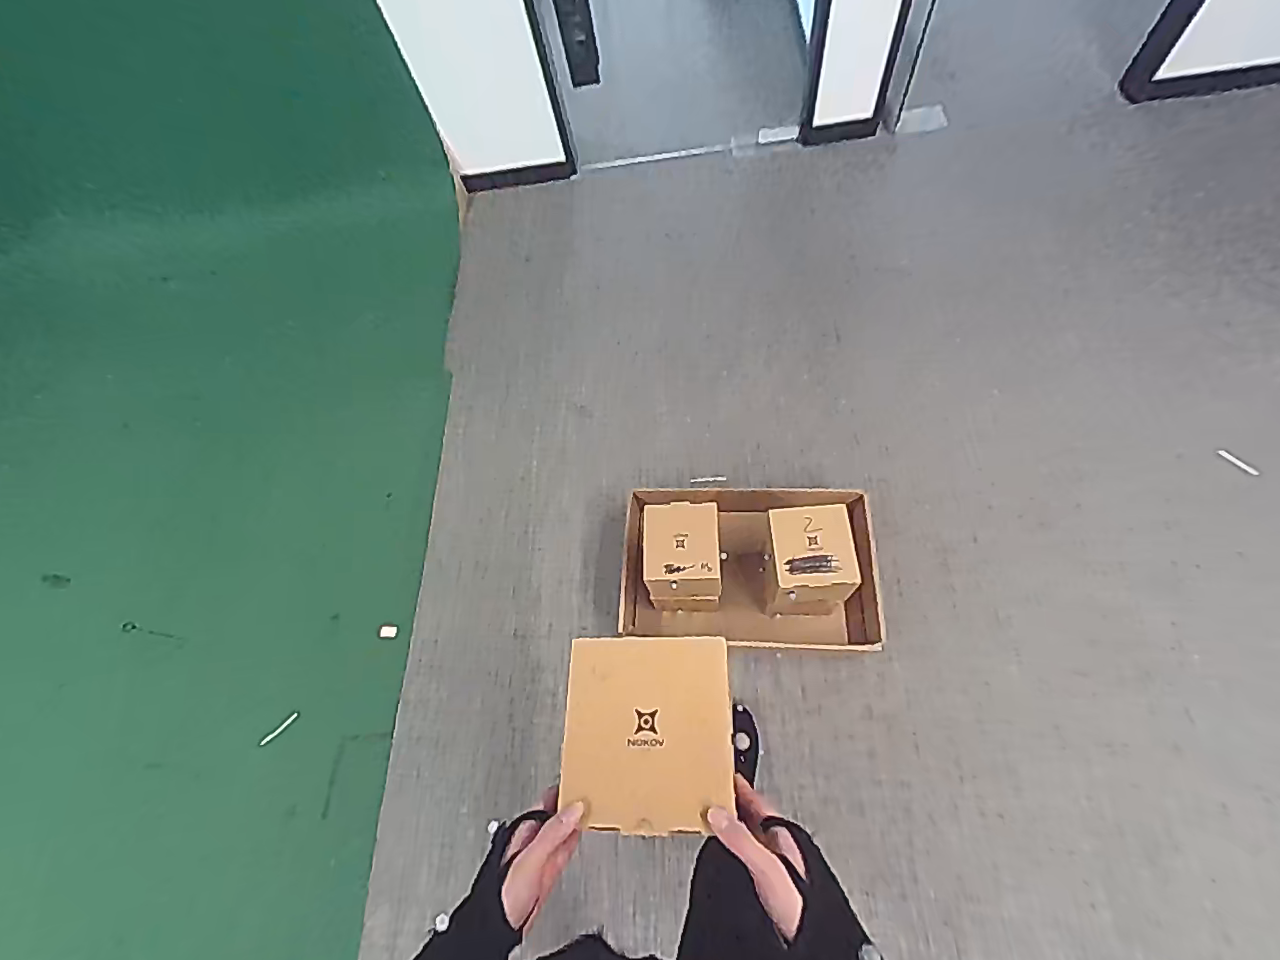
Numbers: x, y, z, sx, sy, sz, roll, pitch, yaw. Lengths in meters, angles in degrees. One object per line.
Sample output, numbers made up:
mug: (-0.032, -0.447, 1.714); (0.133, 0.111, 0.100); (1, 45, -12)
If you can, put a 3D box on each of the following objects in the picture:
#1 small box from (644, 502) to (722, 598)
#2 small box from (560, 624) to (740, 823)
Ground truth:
small box: (0.103, 0.164, 1.242); (0.168, 0.176, 0.179); (-3, 64, 8)
small box: (0.020, 0.269, 0.595); (0.168, 0.176, 0.179); (-3, 60, 8)
